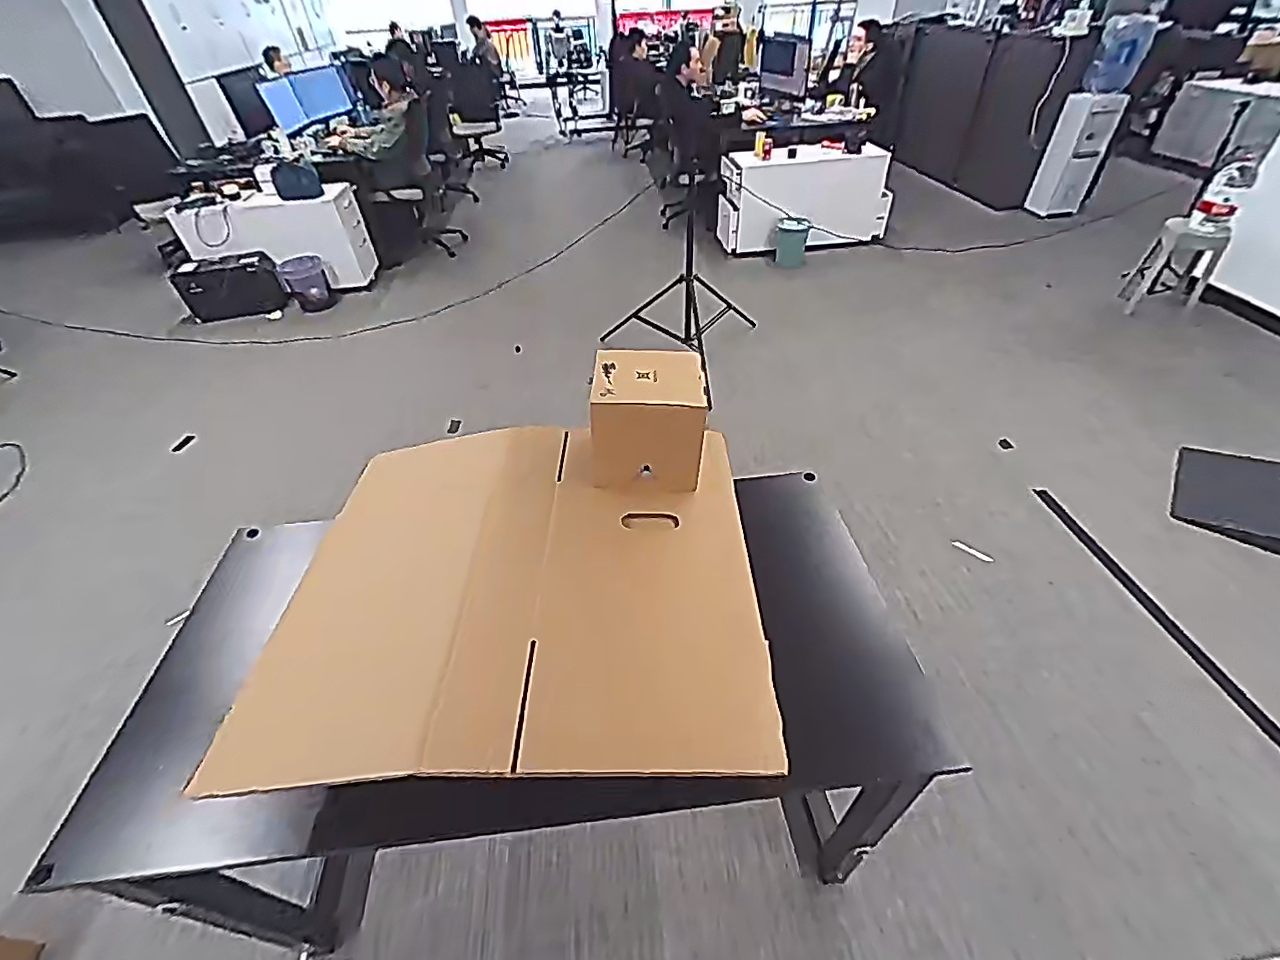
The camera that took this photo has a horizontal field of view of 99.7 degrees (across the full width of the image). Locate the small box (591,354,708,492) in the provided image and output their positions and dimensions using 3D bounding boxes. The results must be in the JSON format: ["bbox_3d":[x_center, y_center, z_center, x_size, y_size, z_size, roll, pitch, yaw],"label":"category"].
[{"bbox_3d":[0.011,-0.094,0.910,0.179,0.176,0.168,2,40,-1],"label":"small box"}]
